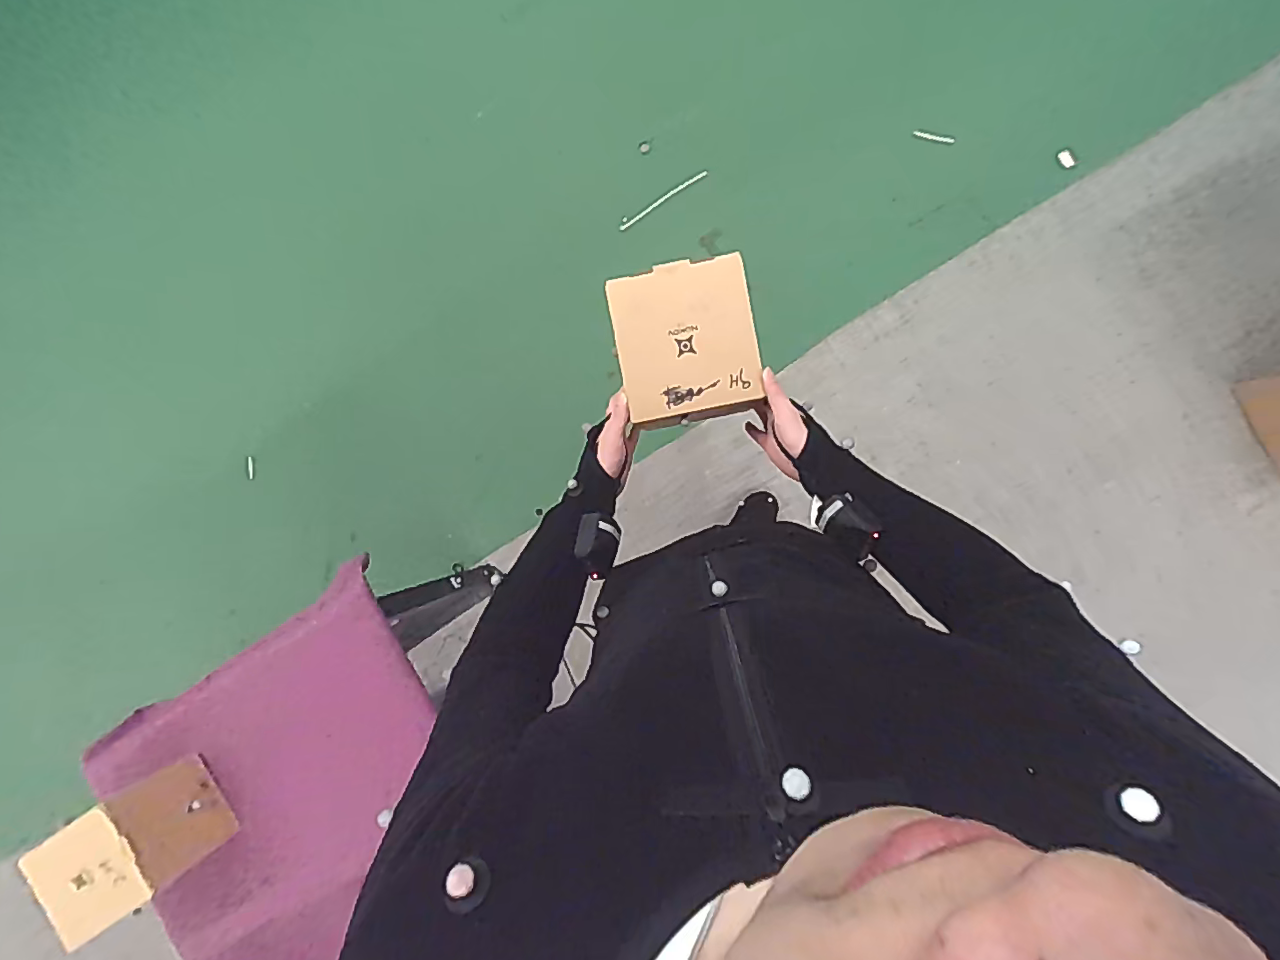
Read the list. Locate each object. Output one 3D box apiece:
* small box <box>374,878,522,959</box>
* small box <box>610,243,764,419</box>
[{"bbox_3d":[-0.323,0.809,0.877,0.179,0.176,0.168,-33,86,6],"label":"small box"},{"bbox_3d":[0.062,-0.185,0.726,0.168,0.176,0.179,-10,92,7],"label":"small box"}]
